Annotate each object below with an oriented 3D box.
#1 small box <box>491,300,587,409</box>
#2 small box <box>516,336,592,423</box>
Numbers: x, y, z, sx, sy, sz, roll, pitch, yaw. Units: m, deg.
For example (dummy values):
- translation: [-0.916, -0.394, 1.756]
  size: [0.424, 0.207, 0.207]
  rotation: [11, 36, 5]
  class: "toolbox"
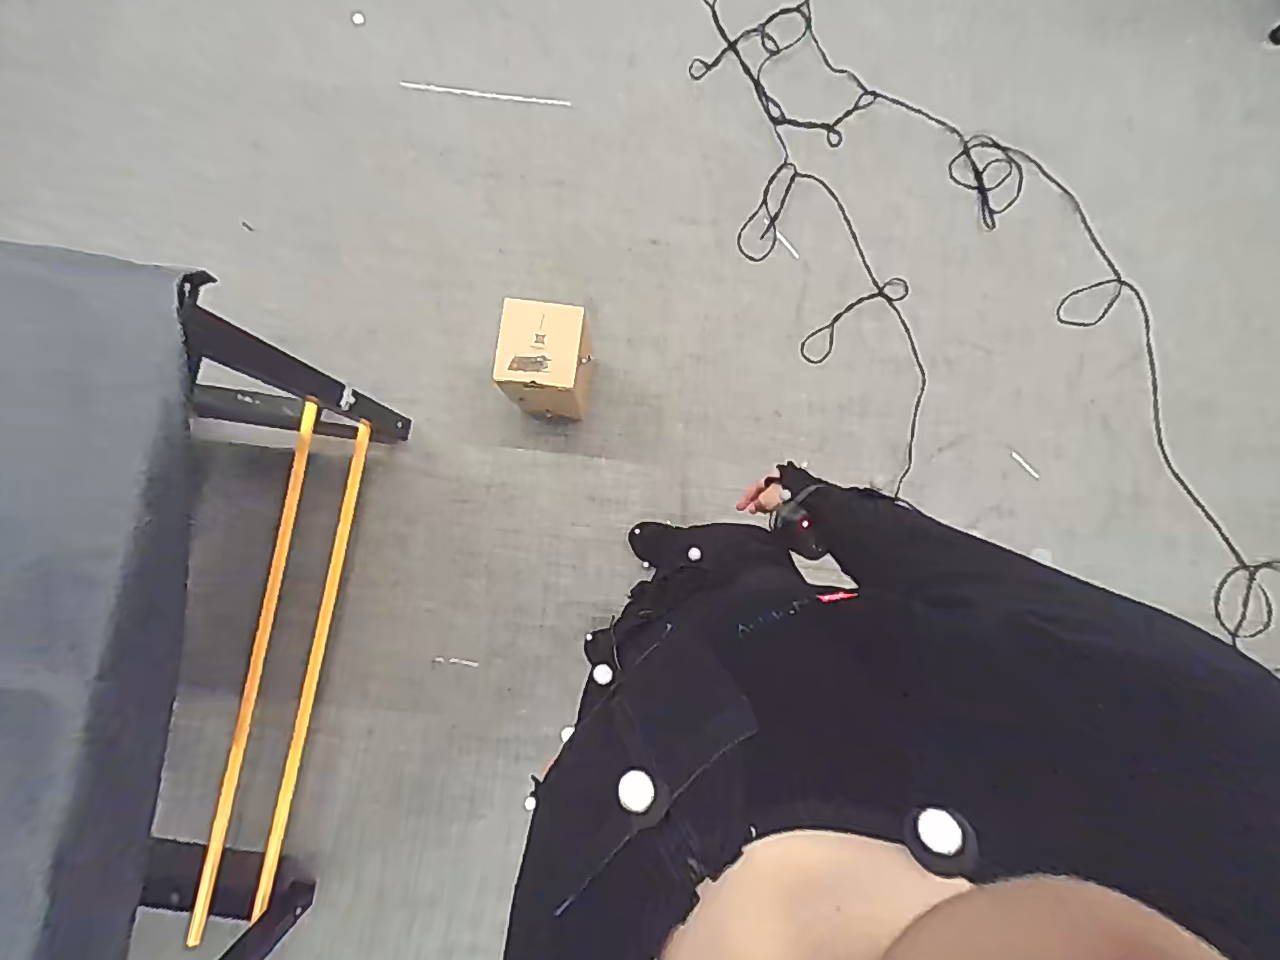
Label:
- translation: [-0.207, -0.260, 1.163]
  size: [0.168, 0.176, 0.179]
  rotation: [7, 82, -1]
  class: "small box"
- translation: [-0.214, -0.253, 1.326]
  size: [0.168, 0.176, 0.179]
  rotation: [9, 82, 0]
  class: "small box"
